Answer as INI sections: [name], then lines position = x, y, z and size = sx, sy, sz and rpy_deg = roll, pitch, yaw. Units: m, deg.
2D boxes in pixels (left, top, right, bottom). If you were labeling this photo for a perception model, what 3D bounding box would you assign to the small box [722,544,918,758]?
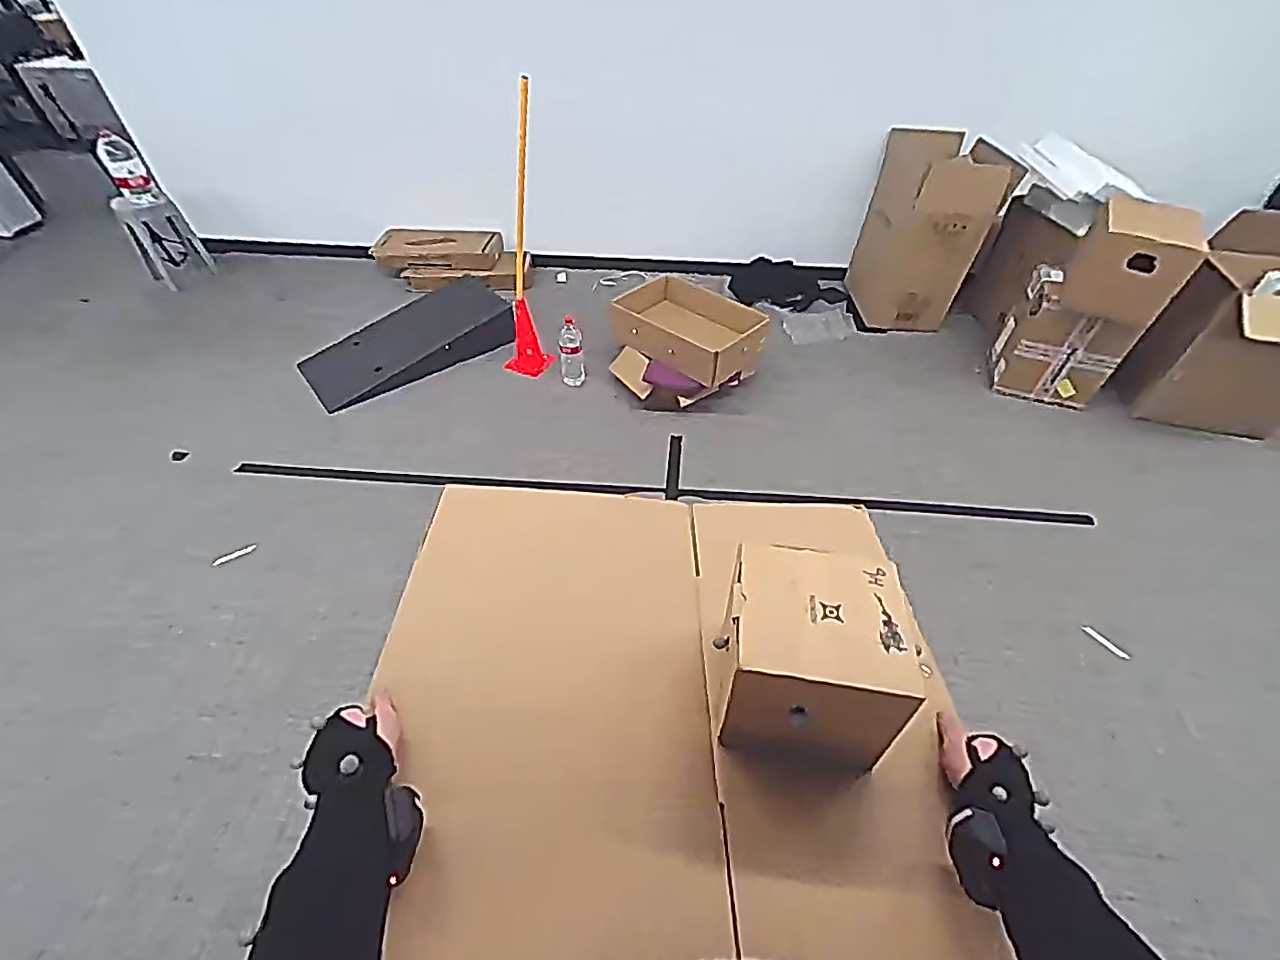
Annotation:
[small box]
position = 0.190, 0.198, 0.625
size = 0.179, 0.176, 0.168
rpy_deg = 6, 43, 7
